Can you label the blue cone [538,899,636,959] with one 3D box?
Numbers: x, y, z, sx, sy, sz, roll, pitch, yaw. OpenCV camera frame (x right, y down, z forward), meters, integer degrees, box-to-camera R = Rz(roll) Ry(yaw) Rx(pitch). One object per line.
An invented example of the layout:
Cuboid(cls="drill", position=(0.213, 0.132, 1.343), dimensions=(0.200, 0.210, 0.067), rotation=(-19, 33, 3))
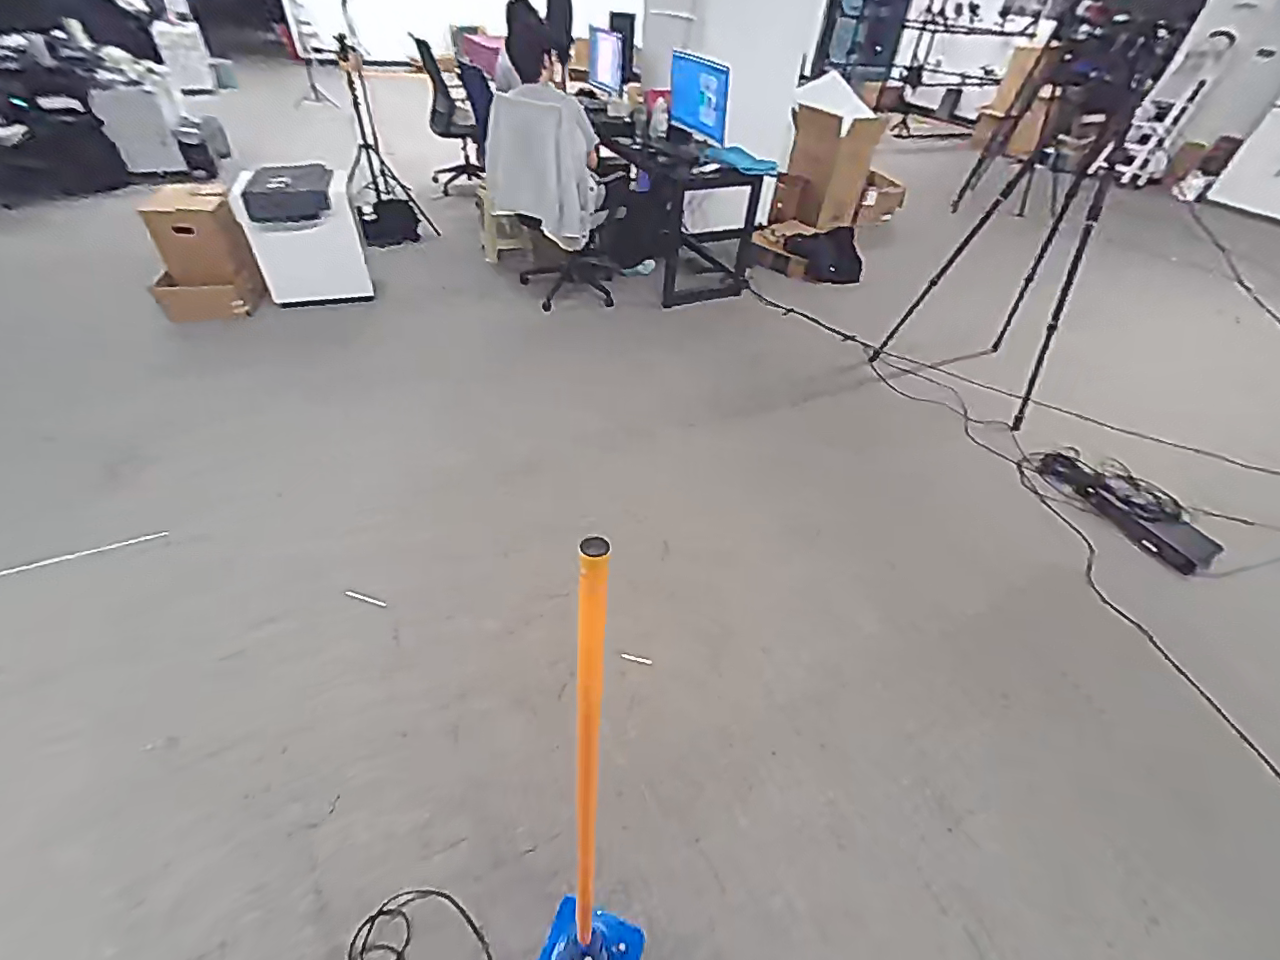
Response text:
Cuboid(cls="blue cone", position=(-0.105, 0.874, 1.007), dimensions=(0.192, 0.380, 0.193), rotation=(15, 42, 12))
